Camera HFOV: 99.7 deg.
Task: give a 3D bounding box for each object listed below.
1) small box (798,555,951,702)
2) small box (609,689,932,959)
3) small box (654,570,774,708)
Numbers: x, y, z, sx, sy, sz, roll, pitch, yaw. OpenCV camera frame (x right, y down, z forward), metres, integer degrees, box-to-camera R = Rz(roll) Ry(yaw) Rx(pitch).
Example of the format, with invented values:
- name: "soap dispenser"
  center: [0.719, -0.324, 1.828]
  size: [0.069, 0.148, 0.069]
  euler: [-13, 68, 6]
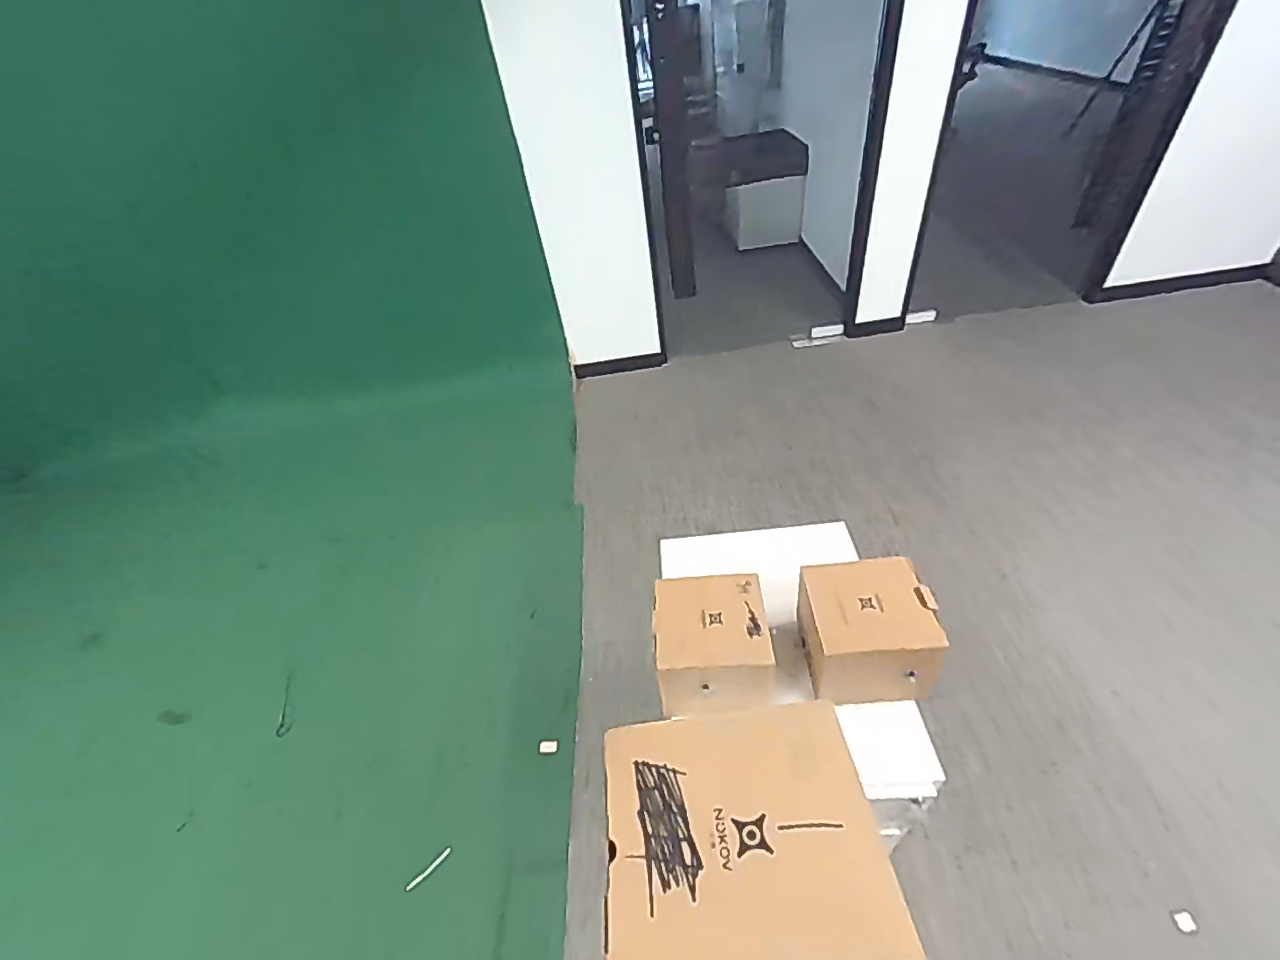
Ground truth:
- name: "small box"
  center: [0.363, 0.243, 0.876]
  size: [0.179, 0.176, 0.168]
  euler: [-7, 42, 6]
- name: "small box"
  center: [0.079, 0.282, 0.396]
  size: [0.179, 0.176, 0.168]
  euler: [-9, 38, 3]
- name: "small box"
  center: [0.119, 0.269, 0.891]
  size: [0.179, 0.176, 0.168]
  euler: [-5, 44, 5]
